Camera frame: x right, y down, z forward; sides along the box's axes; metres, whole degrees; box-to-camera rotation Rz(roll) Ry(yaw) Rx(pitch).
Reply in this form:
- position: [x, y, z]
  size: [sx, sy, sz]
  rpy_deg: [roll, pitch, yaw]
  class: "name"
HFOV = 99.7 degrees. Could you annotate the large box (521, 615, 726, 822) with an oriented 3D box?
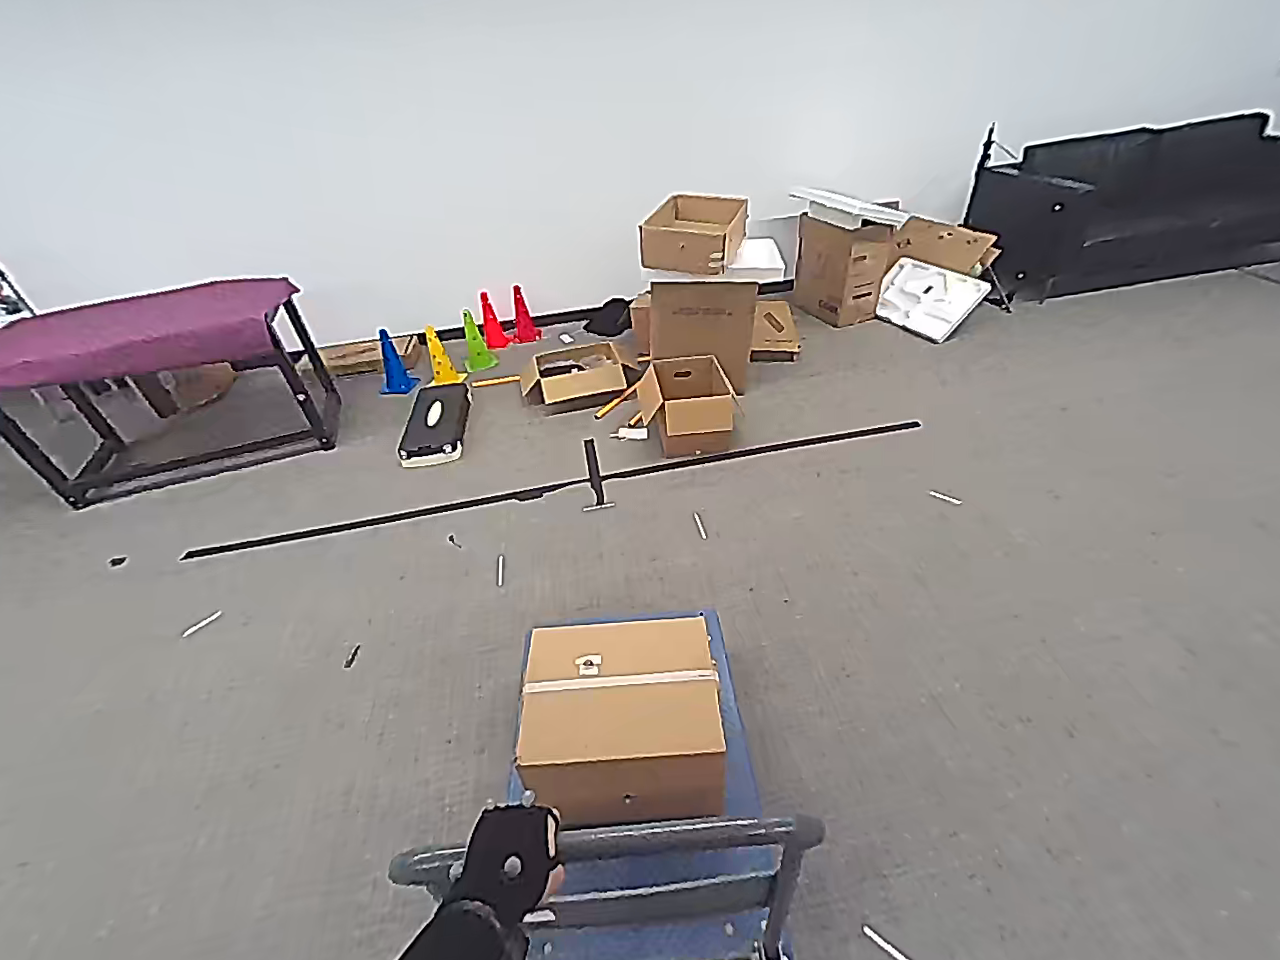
- position: [-0.028, 0.550, 1.247]
  size: [0.408, 0.320, 0.320]
  rpy_deg: [-6, 37, 1]
  class: "large box"
